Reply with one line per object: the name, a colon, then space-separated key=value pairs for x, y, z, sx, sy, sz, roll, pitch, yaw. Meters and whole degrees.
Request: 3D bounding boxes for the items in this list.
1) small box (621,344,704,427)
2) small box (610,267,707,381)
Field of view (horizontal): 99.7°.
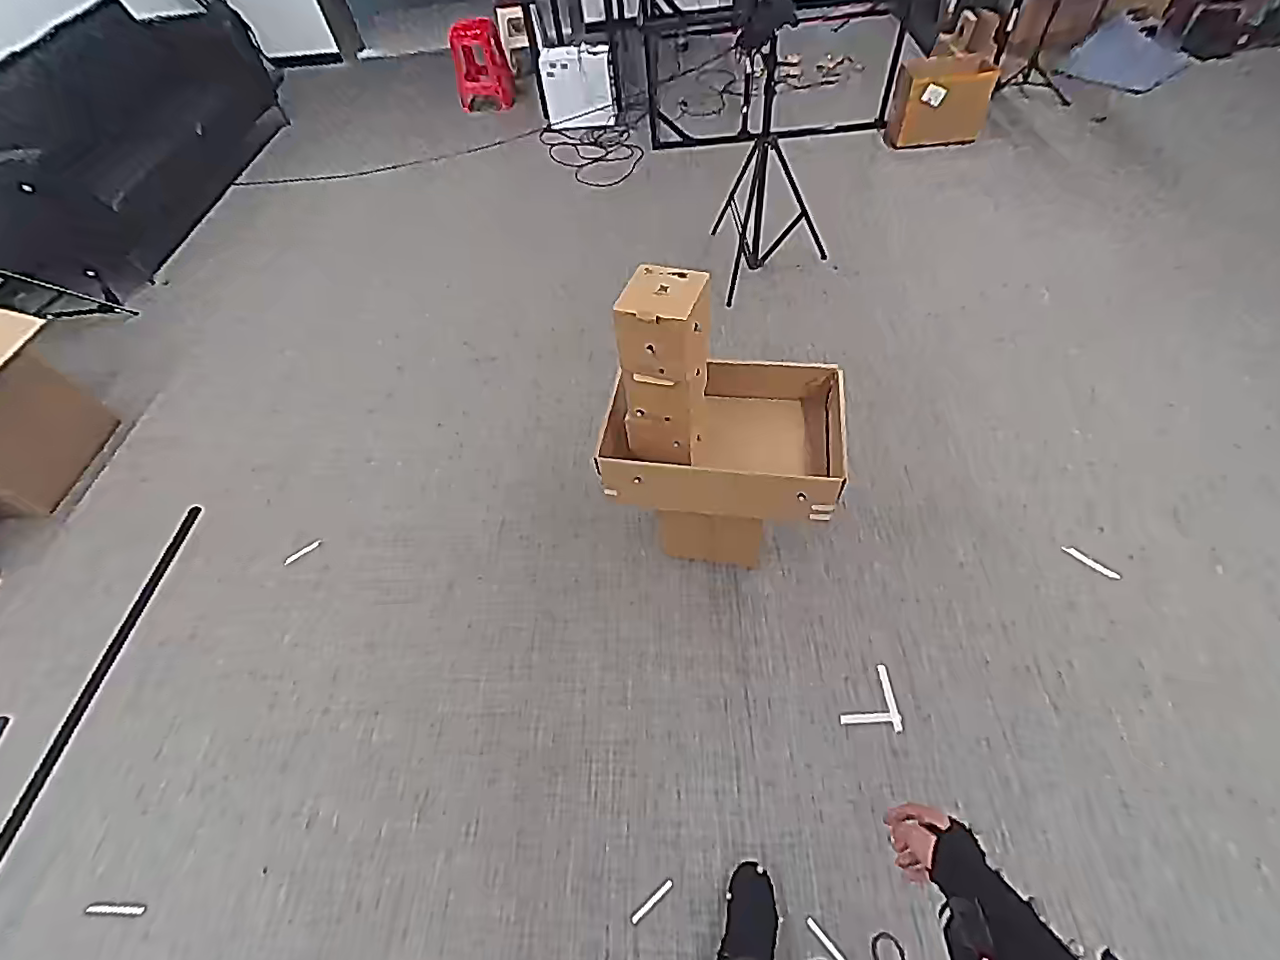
small box: x=0.065 y=-0.255 z=1.352 sx=0.168 sy=0.176 sz=0.179 roll=11 pitch=55 yaw=14
small box: x=0.050 y=-0.347 z=1.216 sx=0.168 sy=0.176 sz=0.179 roll=15 pitch=57 yaw=16
